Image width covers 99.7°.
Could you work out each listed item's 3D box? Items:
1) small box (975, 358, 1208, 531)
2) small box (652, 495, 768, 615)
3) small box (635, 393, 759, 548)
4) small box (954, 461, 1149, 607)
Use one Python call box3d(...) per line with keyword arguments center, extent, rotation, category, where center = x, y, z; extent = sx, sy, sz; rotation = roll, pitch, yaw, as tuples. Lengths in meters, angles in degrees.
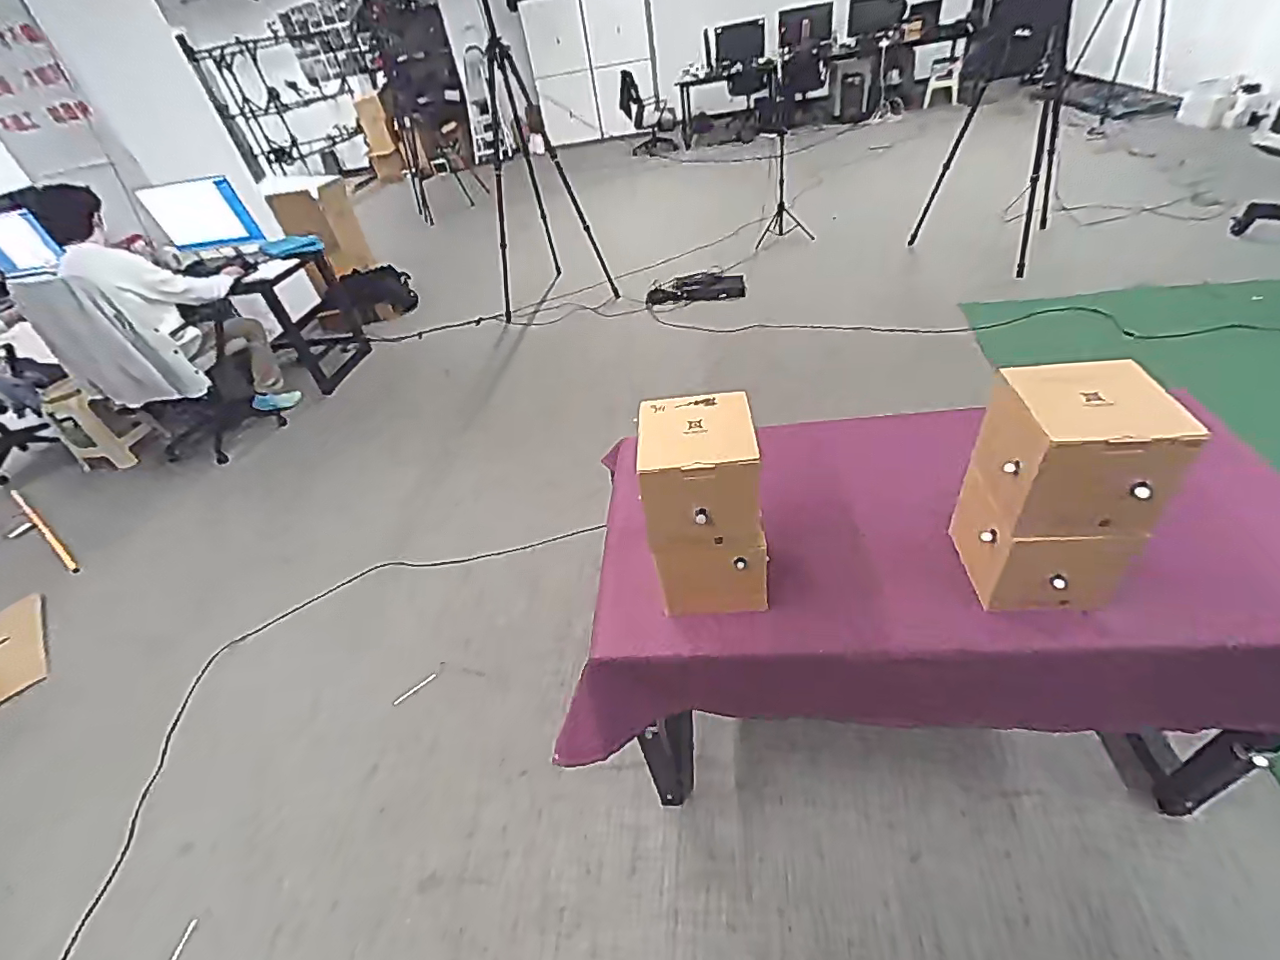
box3d(center=(0.587, -0.043, 0.736), extent=(0.168, 0.176, 0.179), rotation=(-2, 41, 12), category="small box")
box3d(center=(0.121, 0.117, 0.931), extent=(0.179, 0.176, 0.168), rotation=(-5, 40, 8), category="small box")
box3d(center=(0.090, -0.009, 0.829), extent=(0.168, 0.176, 0.179), rotation=(-5, 41, 7), category="small box")
box3d(center=(0.614, 0.082, 0.838), extent=(0.168, 0.176, 0.179), rotation=(-3, 40, 11), category="small box")
